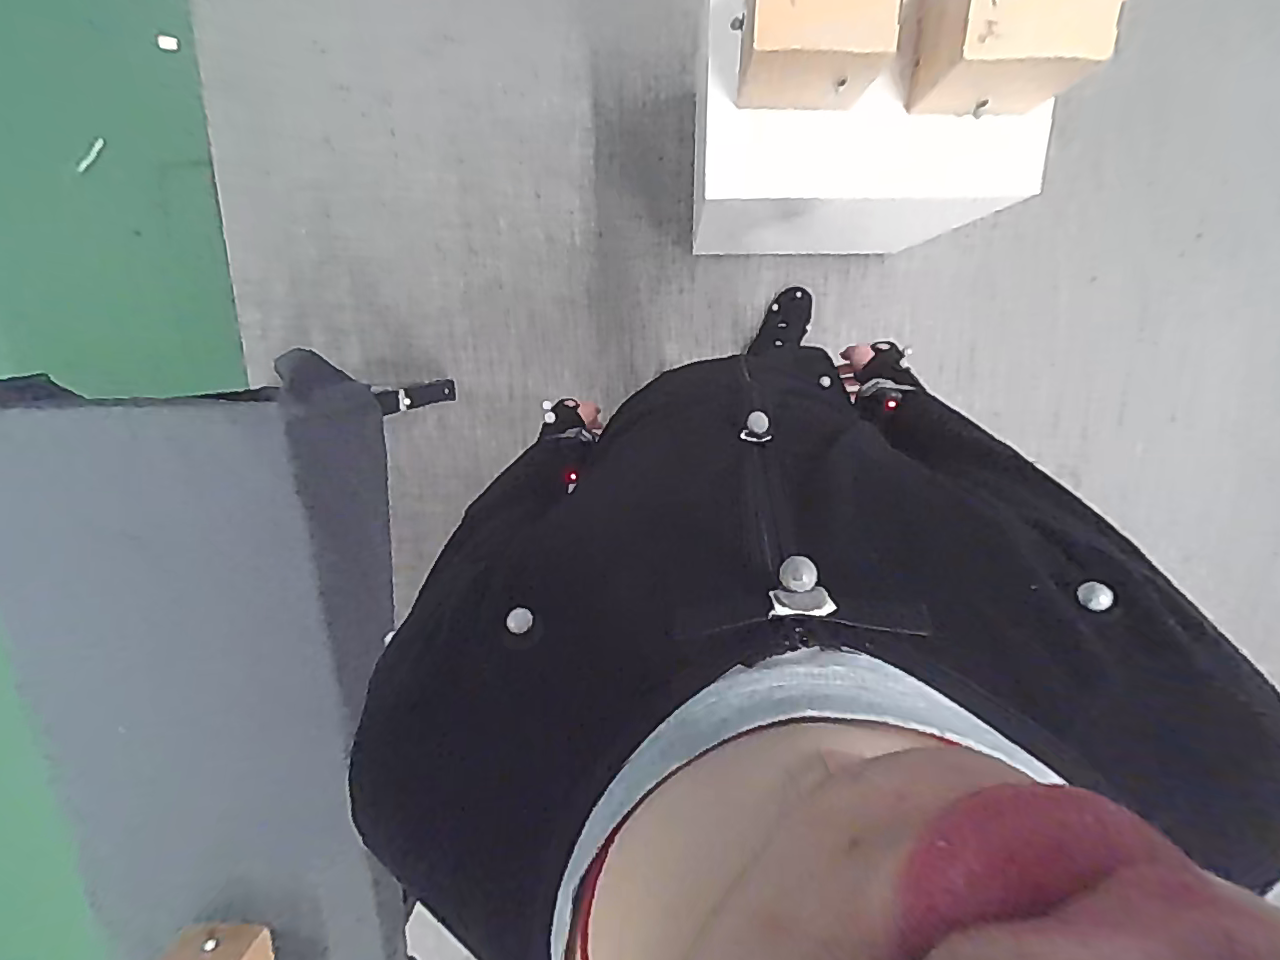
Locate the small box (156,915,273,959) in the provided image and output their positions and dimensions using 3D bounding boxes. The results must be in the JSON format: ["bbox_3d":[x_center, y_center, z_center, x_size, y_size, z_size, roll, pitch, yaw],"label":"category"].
[{"bbox_3d":[-0.831,0.984,1.031,0.168,0.176,0.179,0,103,2],"label":"small box"}]

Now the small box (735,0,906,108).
[{"bbox_3d":[0.228,-0.614,0.707,0.179,0.176,0.168,2,103,2],"label":"small box"}]

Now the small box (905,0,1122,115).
[{"bbox_3d":[0.477,-0.598,0.700,0.179,0.176,0.168,2,105,1],"label":"small box"}]
